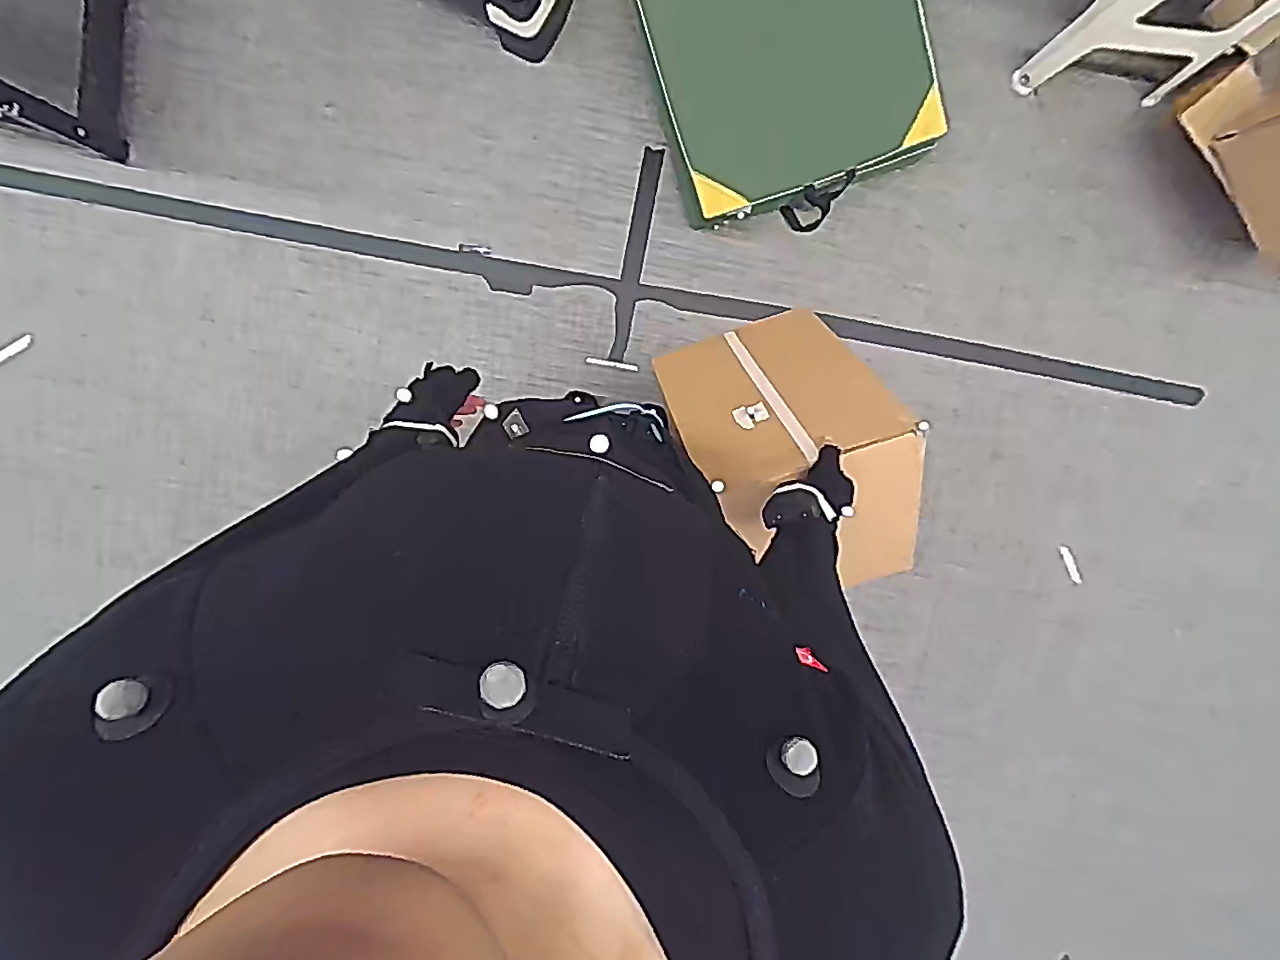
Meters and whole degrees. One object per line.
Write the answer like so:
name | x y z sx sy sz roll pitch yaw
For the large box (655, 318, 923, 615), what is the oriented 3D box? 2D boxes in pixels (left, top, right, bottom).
large box | 0.245 -0.035 0.989 0.320 0.408 0.320 -18 132 3
